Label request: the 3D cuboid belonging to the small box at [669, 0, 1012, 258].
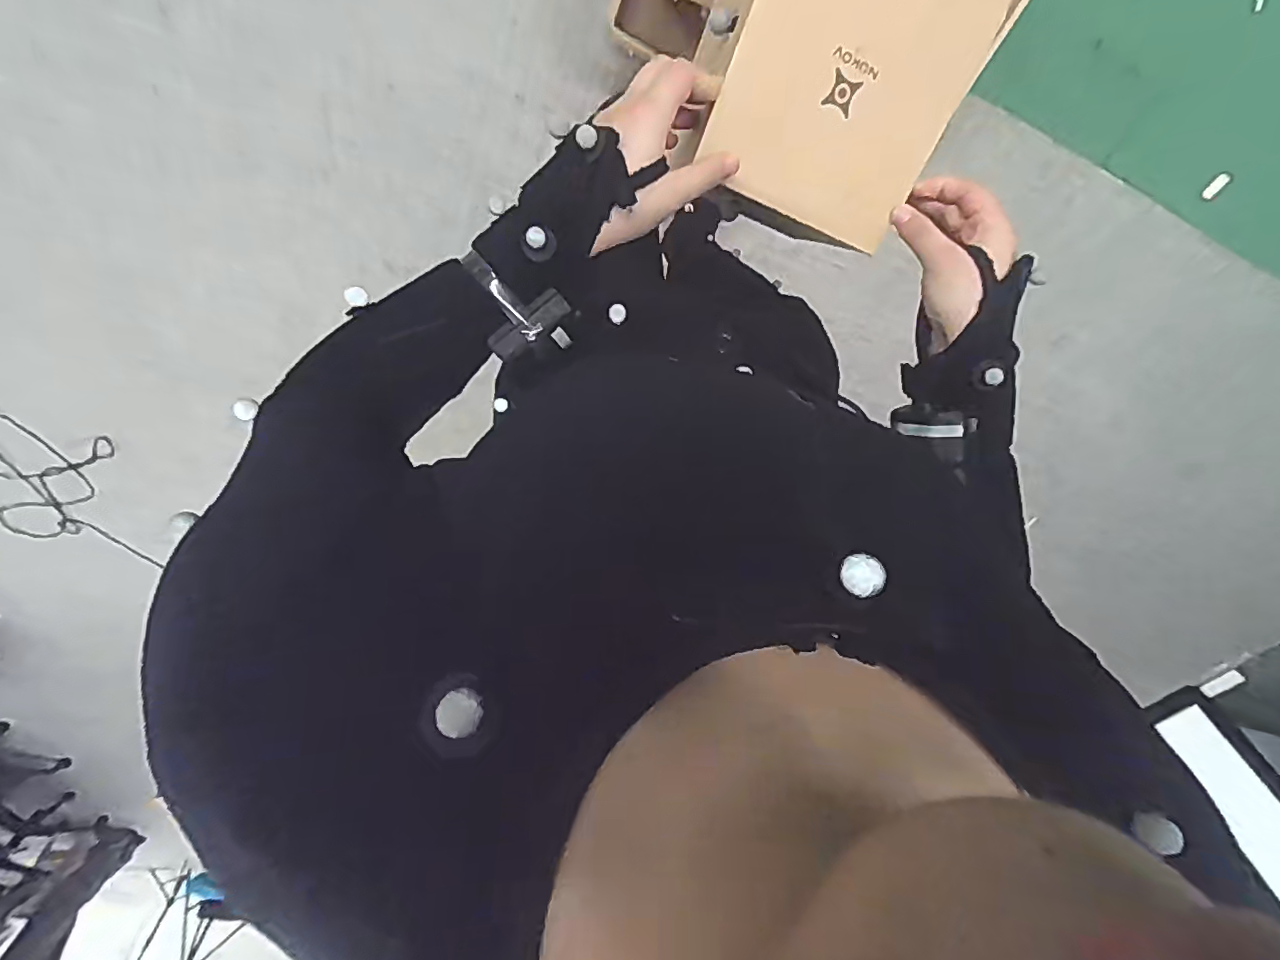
[{"bbox_3d":[0.133,-0.305,0.439,0.168,0.176,0.179,16,114,-16],"label":"small box"}]
